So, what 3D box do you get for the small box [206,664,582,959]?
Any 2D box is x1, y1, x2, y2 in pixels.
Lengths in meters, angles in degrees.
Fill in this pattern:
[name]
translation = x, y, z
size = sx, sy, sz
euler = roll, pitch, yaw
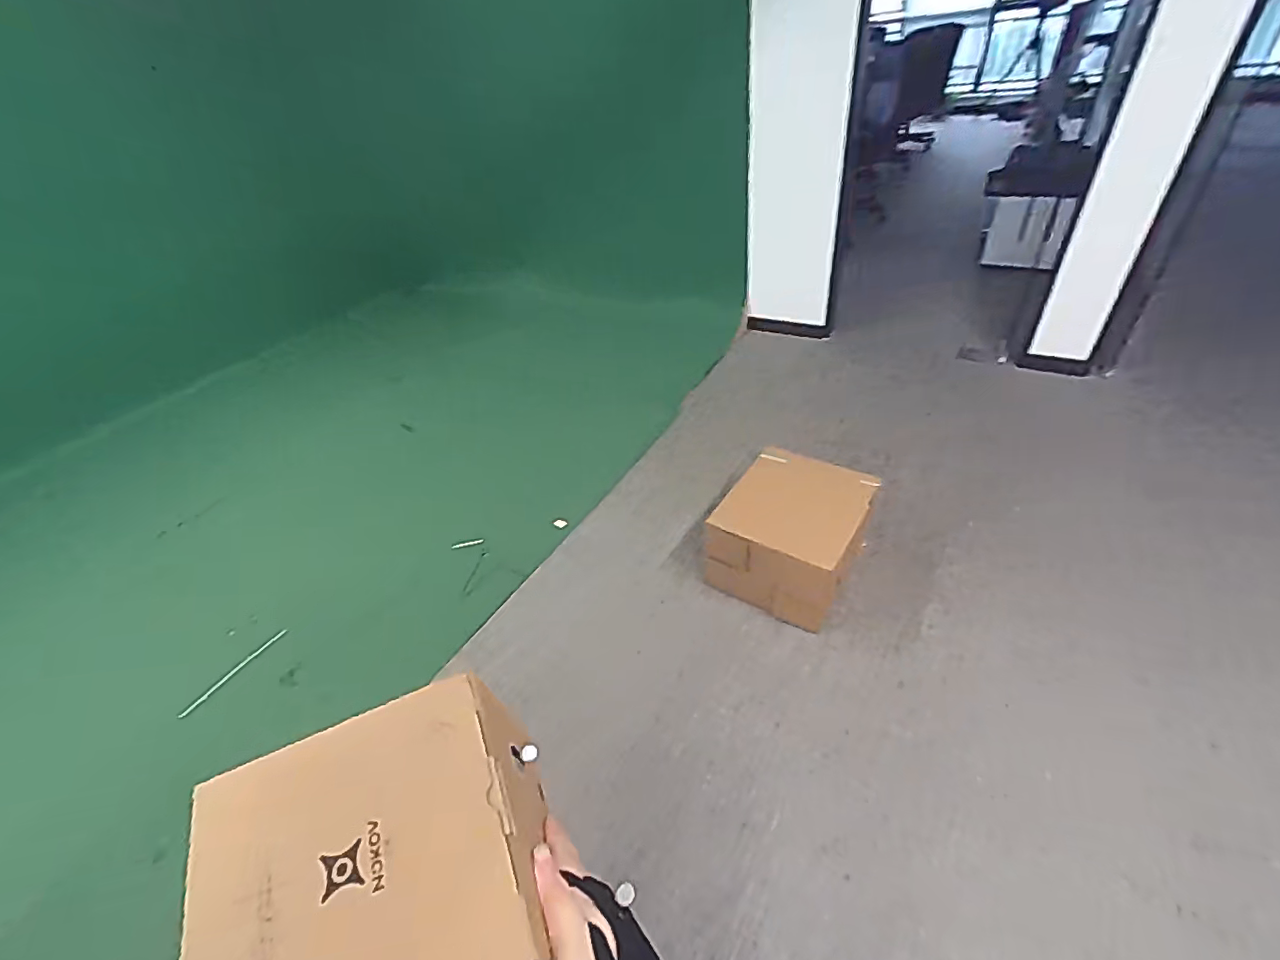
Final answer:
[small box]
translation = -0.147, 0.258, 0.369
size = 0.179, 0.176, 0.168
euler = -20, 53, -10
